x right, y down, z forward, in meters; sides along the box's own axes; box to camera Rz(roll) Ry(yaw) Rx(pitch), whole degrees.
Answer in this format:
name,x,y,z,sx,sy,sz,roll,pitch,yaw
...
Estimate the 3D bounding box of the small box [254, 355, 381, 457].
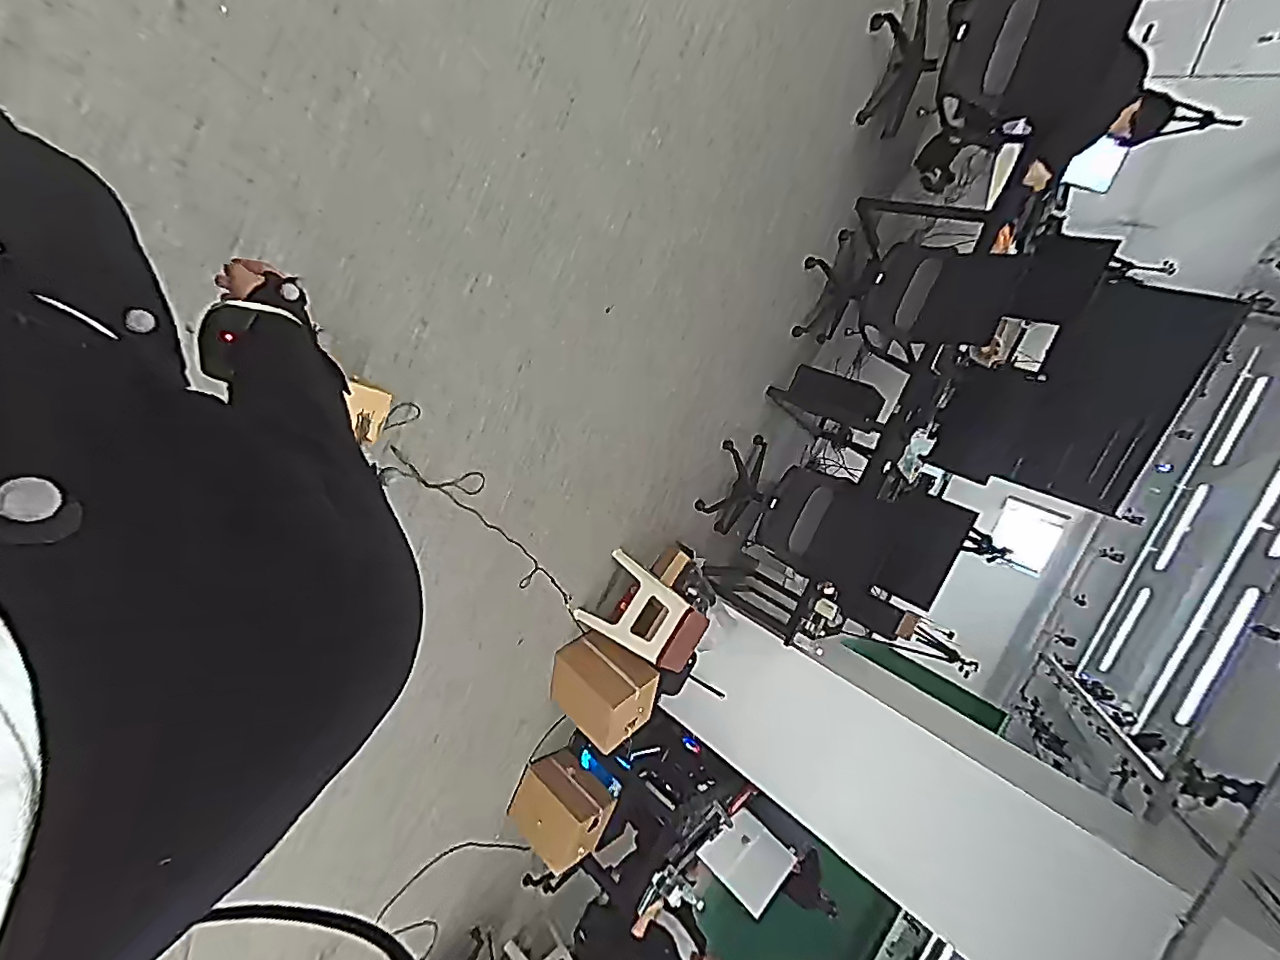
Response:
name,x,y,z,sx,sy,sz,roll,pitch,yaw
small box,-0.744,-0.171,1.247,0.179,0.176,0.168,16,99,-56
